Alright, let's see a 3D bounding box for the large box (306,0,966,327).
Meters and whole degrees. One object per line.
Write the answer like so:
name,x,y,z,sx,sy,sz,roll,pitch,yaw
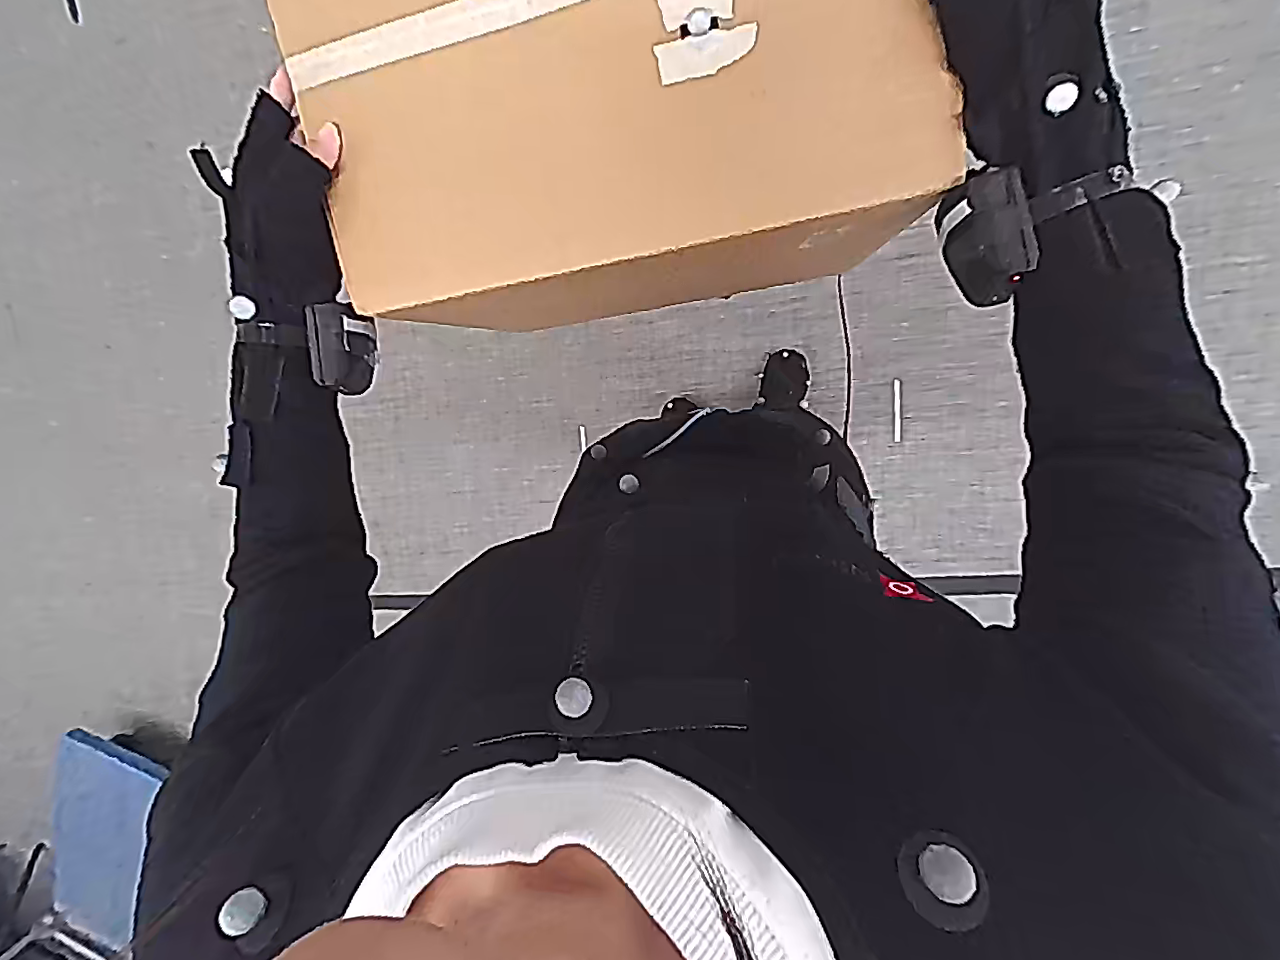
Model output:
large box,-0.002,-0.336,0.475,0.408,0.320,0.320,-8,102,11
